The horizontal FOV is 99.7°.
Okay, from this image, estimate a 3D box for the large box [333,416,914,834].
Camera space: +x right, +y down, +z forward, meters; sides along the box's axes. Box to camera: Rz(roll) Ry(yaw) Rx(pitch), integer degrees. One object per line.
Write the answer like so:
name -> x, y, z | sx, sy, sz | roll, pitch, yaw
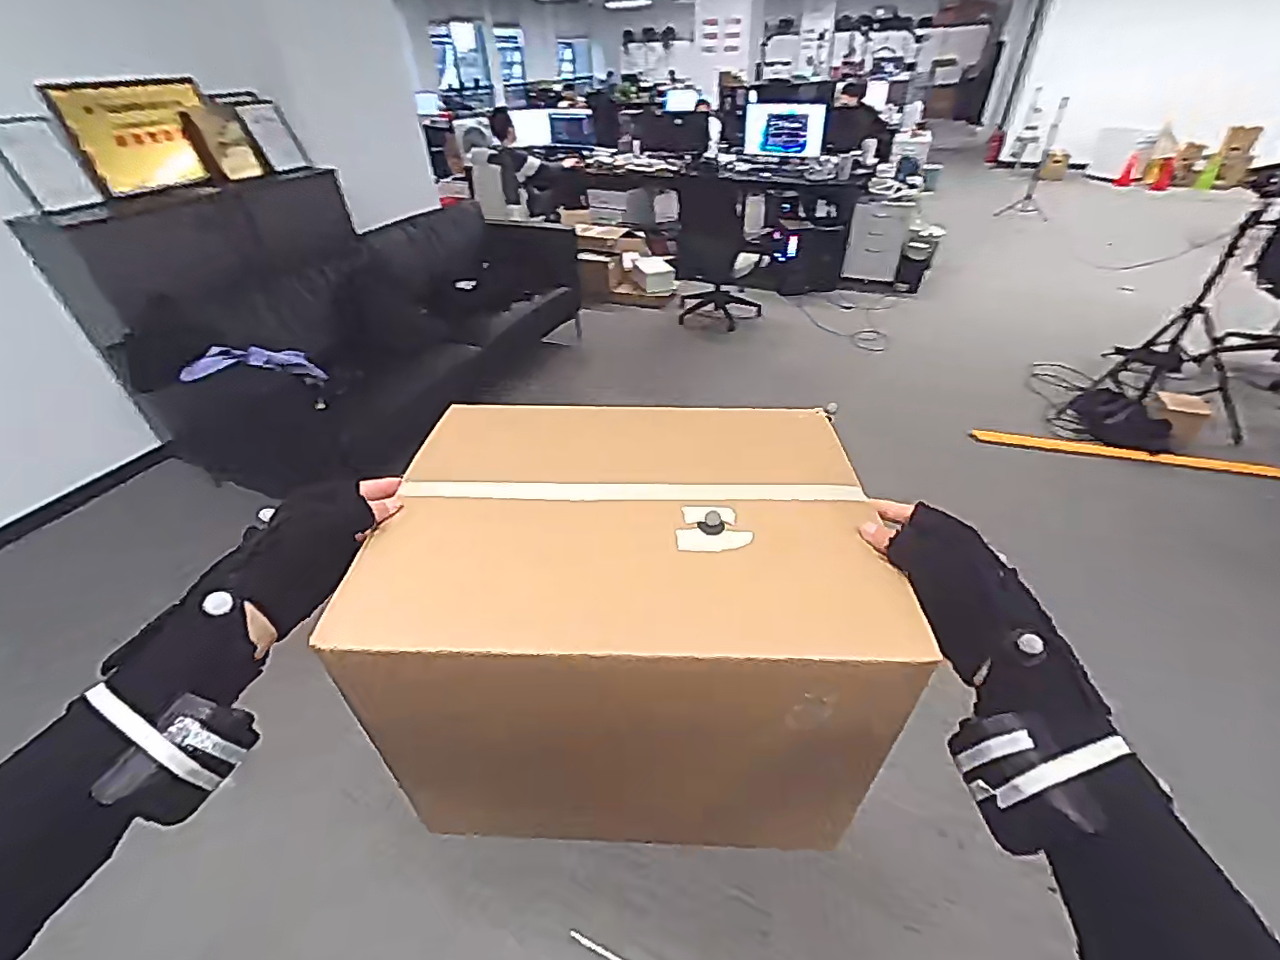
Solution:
large box -> -0.012, 0.141, 0.569 | 0.408, 0.320, 0.320 | 1, 37, 1
